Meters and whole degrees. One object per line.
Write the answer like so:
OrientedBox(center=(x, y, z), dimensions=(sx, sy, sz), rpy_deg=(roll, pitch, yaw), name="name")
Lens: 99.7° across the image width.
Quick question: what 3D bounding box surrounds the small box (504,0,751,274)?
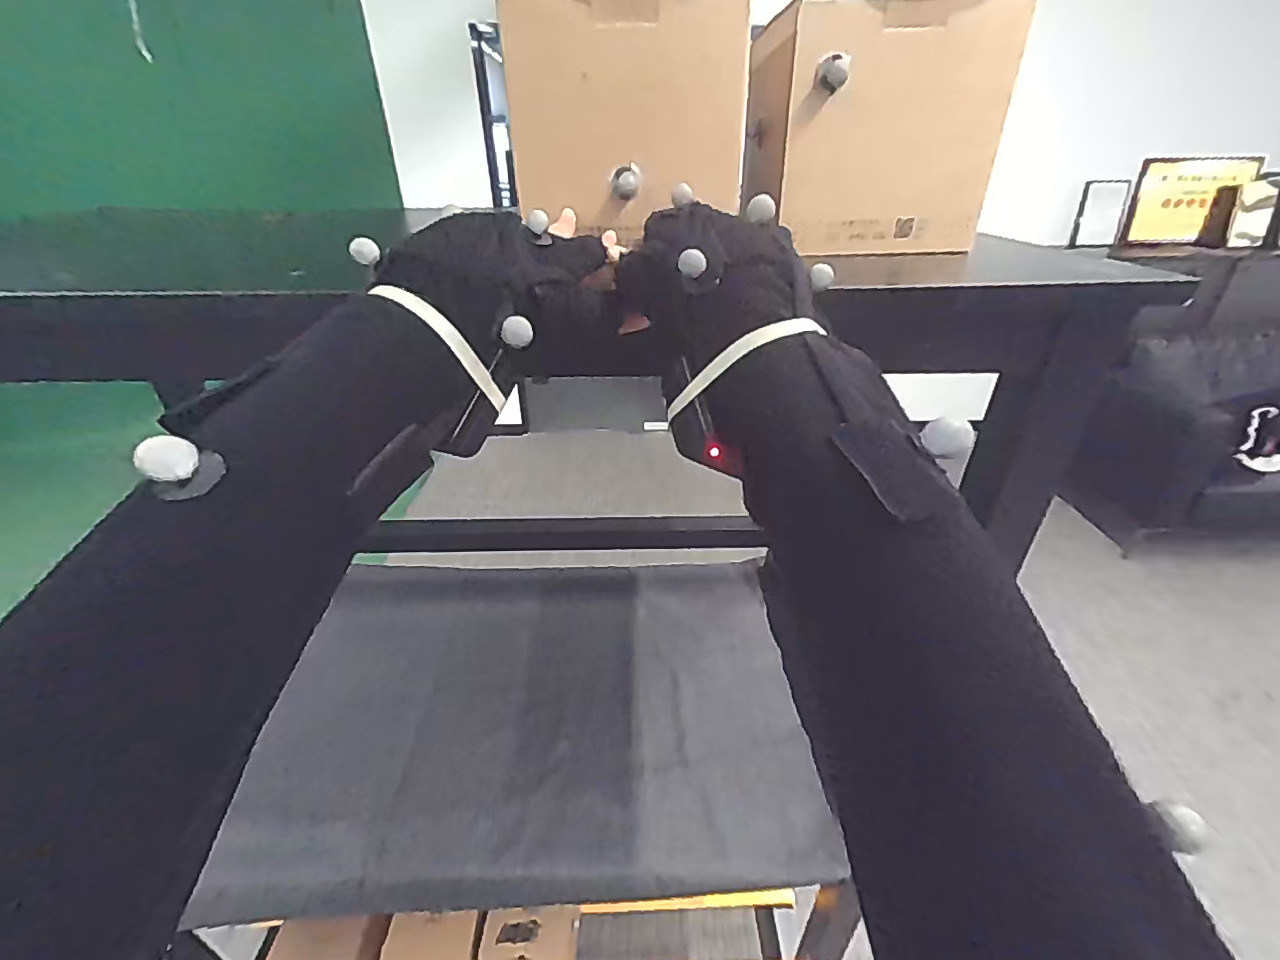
OrientedBox(center=(-0.010, -0.282, 0.464), dimensions=(0.168, 0.176, 0.179), rpy_deg=(-2, 32, -1), name="small box")
